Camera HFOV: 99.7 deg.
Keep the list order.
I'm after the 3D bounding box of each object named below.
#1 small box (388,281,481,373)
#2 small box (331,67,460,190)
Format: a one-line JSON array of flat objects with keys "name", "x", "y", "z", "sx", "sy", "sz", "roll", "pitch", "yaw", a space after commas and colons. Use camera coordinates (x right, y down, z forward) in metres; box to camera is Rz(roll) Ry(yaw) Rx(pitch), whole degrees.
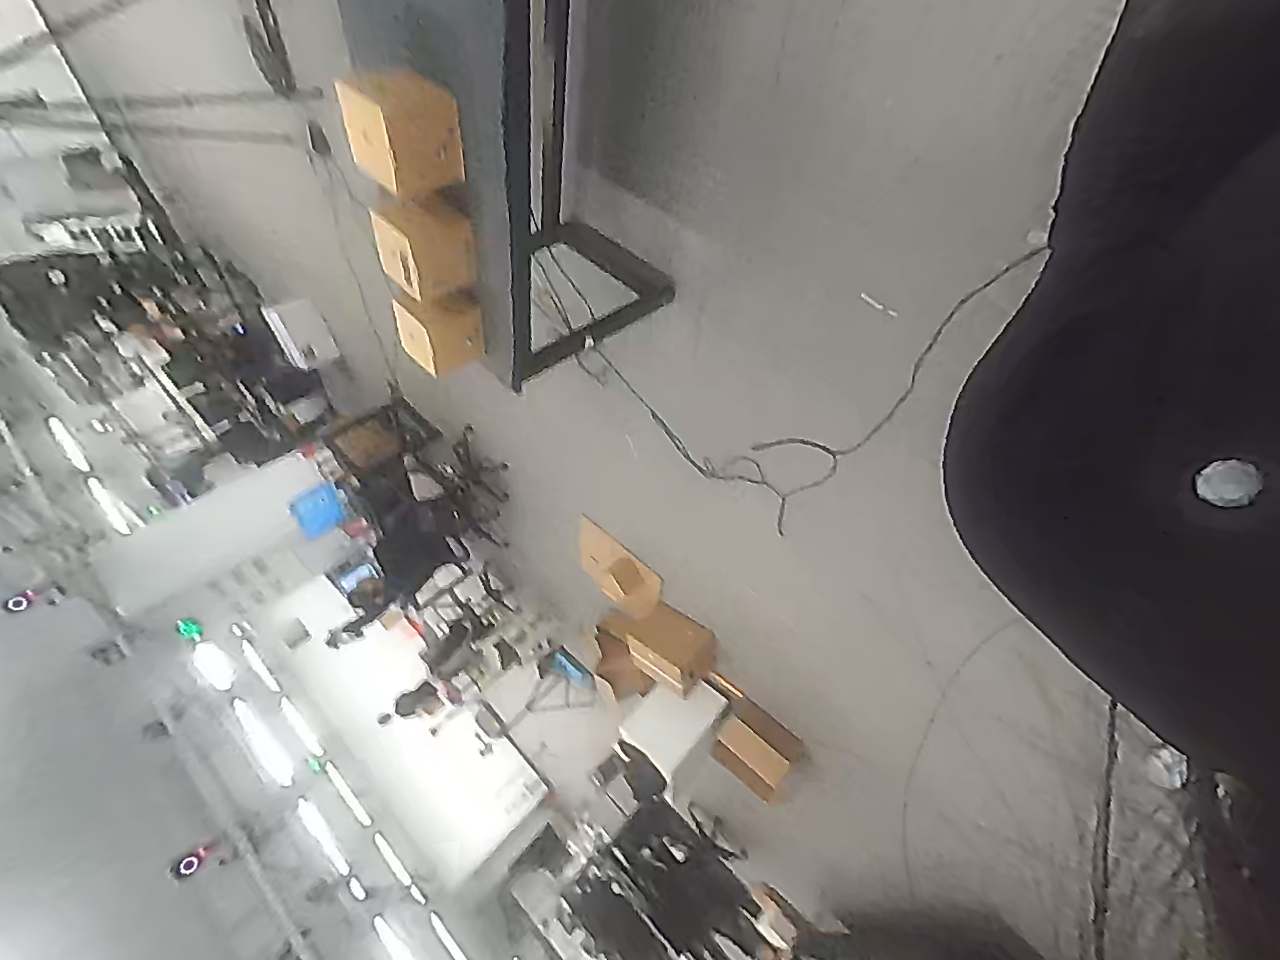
[{"name": "small box", "x": -0.568, "y": -0.434, "z": 1.513, "sx": 0.179, "sy": 0.176, "sz": 0.168, "roll": 40, "pitch": 145, "yaw": 21}, {"name": "small box", "x": -0.507, "y": -0.748, "z": 1.144, "sx": 0.179, "sy": 0.176, "sz": 0.168, "roll": 38, "pitch": 145, "yaw": 19}]
